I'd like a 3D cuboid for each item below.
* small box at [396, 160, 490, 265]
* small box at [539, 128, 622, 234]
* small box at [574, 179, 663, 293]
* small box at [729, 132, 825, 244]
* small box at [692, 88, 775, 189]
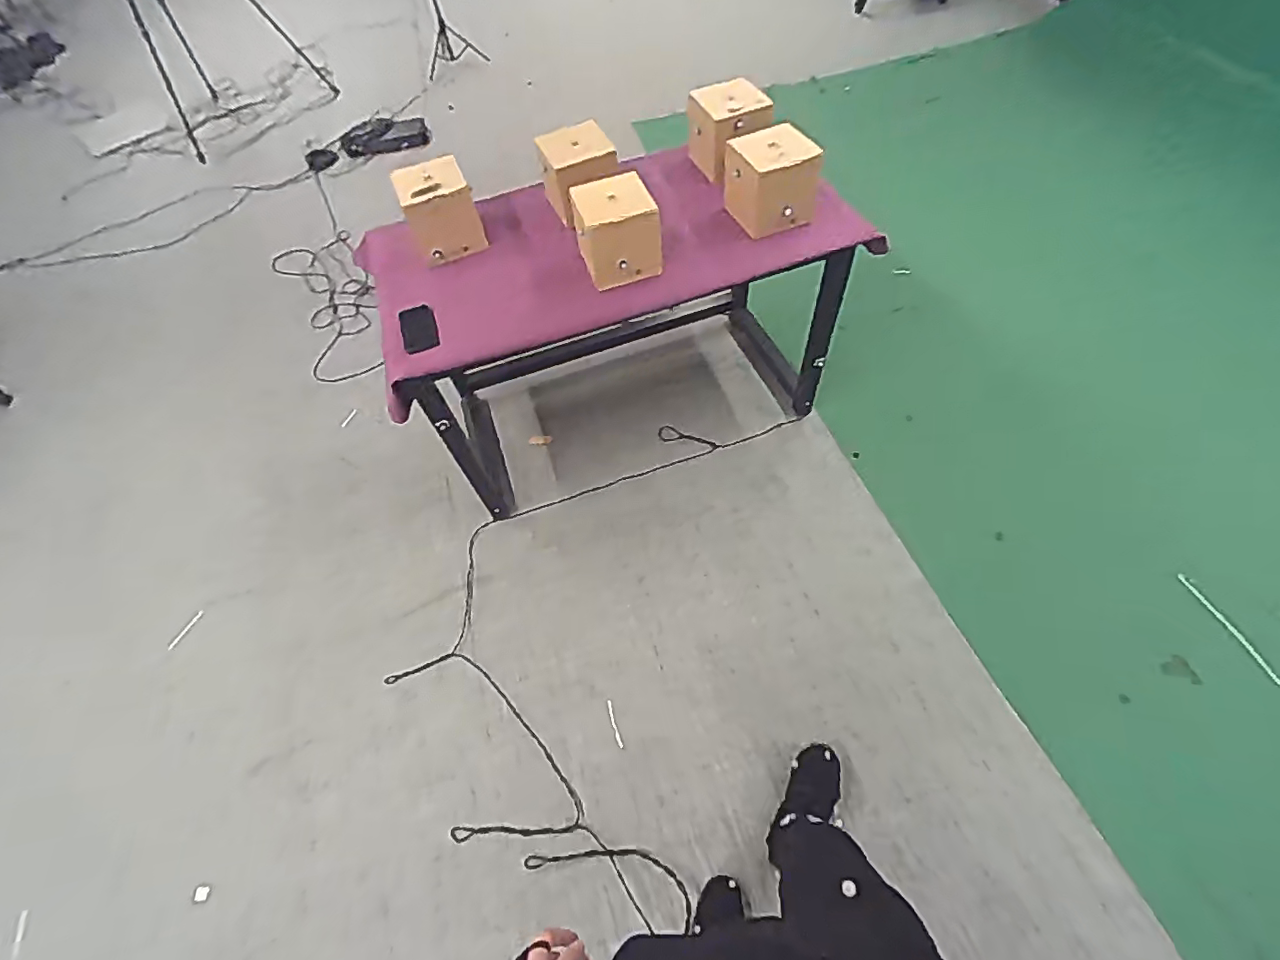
[{"bbox_3d":[-0.503,-0.681,1.396,0.168,0.176,0.179,-21,57,-9],"label":"small box"},{"bbox_3d":[-0.151,-0.792,1.436,0.168,0.176,0.179,-22,59,-7],"label":"small box"},{"bbox_3d":[-0.049,-0.578,1.288,0.168,0.176,0.179,-17,57,-6],"label":"small box"},{"bbox_3d":[0.328,-0.720,1.340,0.168,0.176,0.179,-20,57,-6],"label":"small box"},{"bbox_3d":[0.249,-0.937,1.489,0.168,0.176,0.179,-21,58,-7],"label":"small box"}]
